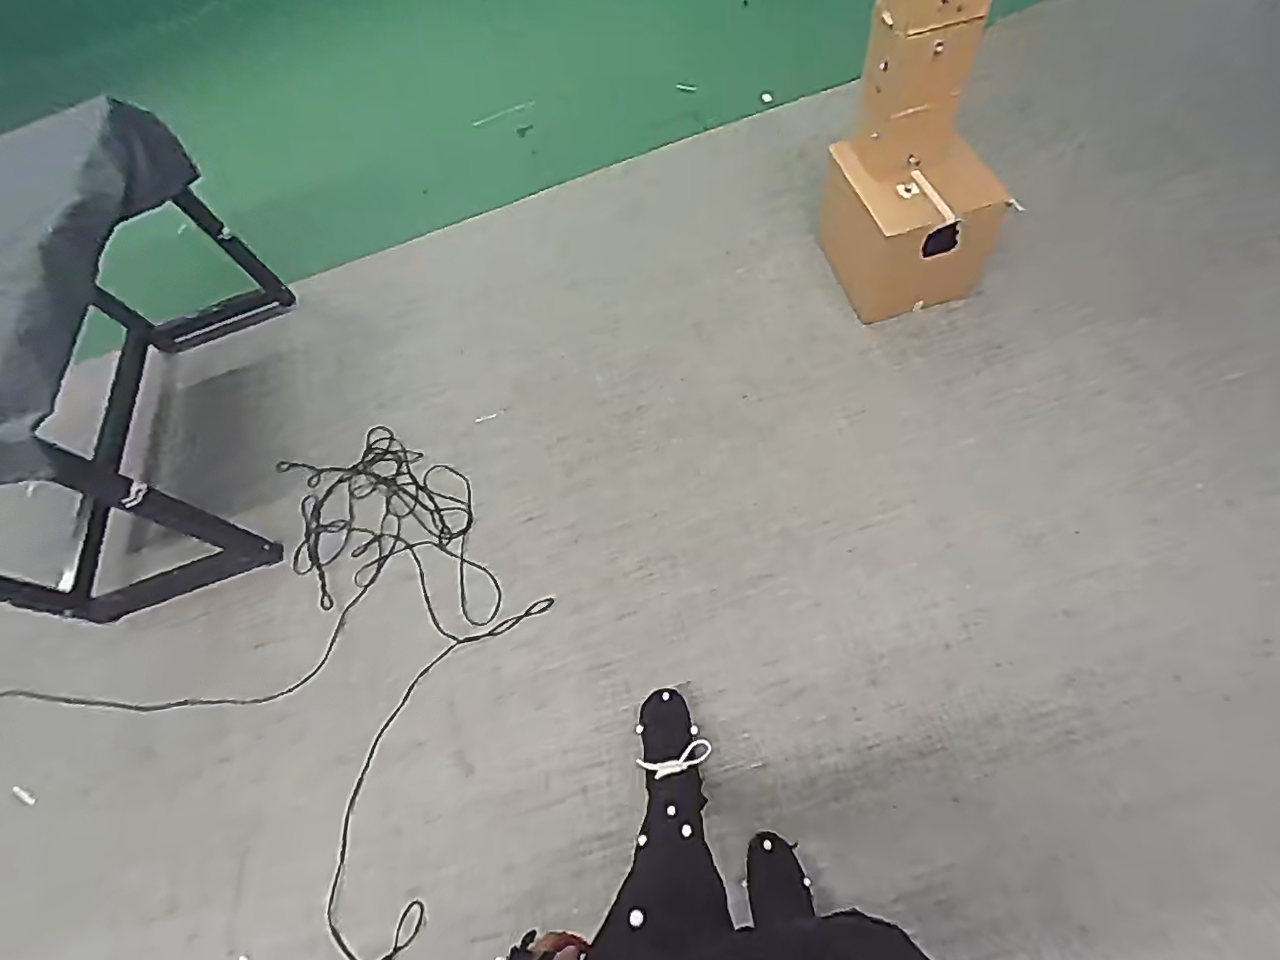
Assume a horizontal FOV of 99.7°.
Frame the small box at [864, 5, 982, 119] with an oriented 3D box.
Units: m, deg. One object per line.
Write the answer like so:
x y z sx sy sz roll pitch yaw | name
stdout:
0.625 -0.962 1.227 0.179 0.176 0.168 -13 64 4 | small box

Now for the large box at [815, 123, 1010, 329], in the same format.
0.736 -0.715 1.543 0.320 0.320 0.408 -16 62 4 | large box

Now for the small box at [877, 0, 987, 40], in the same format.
0.597 -1.034 1.084 0.168 0.176 0.179 -12 64 5 | small box
